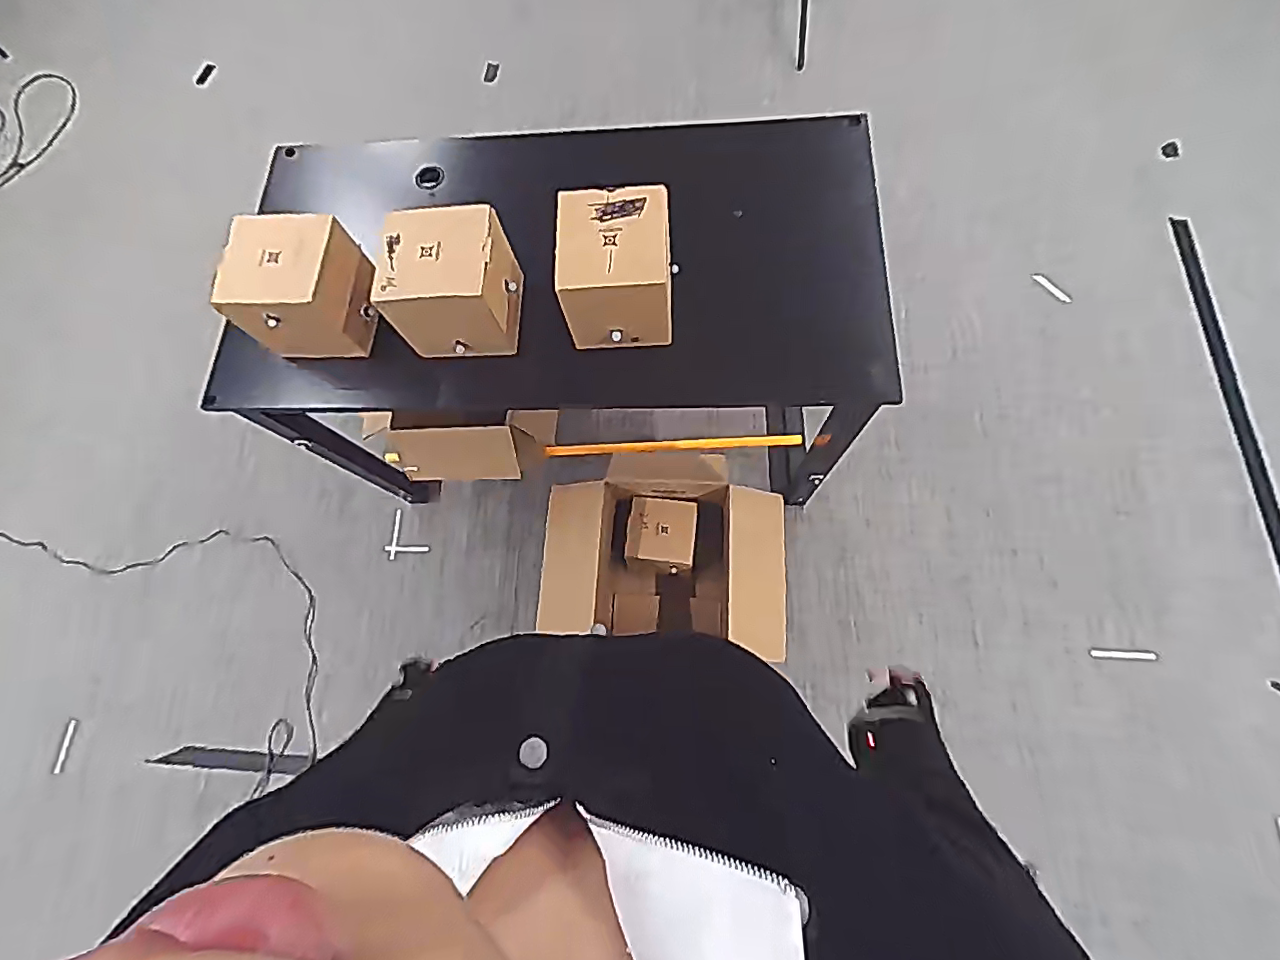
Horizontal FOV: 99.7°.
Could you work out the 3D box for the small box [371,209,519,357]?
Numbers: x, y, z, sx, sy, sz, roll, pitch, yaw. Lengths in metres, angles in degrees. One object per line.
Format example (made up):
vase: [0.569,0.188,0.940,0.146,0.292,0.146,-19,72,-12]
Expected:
small box: [-0.306,-0.316,0.890,0.179,0.176,0.168,-1,72,3]

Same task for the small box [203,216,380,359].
small box: [-0.569,-0.317,0.913,0.179,0.176,0.168,2,73,5]

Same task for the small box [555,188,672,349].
small box: [-0.035,-0.332,0.870,0.168,0.176,0.179,-2,73,5]
